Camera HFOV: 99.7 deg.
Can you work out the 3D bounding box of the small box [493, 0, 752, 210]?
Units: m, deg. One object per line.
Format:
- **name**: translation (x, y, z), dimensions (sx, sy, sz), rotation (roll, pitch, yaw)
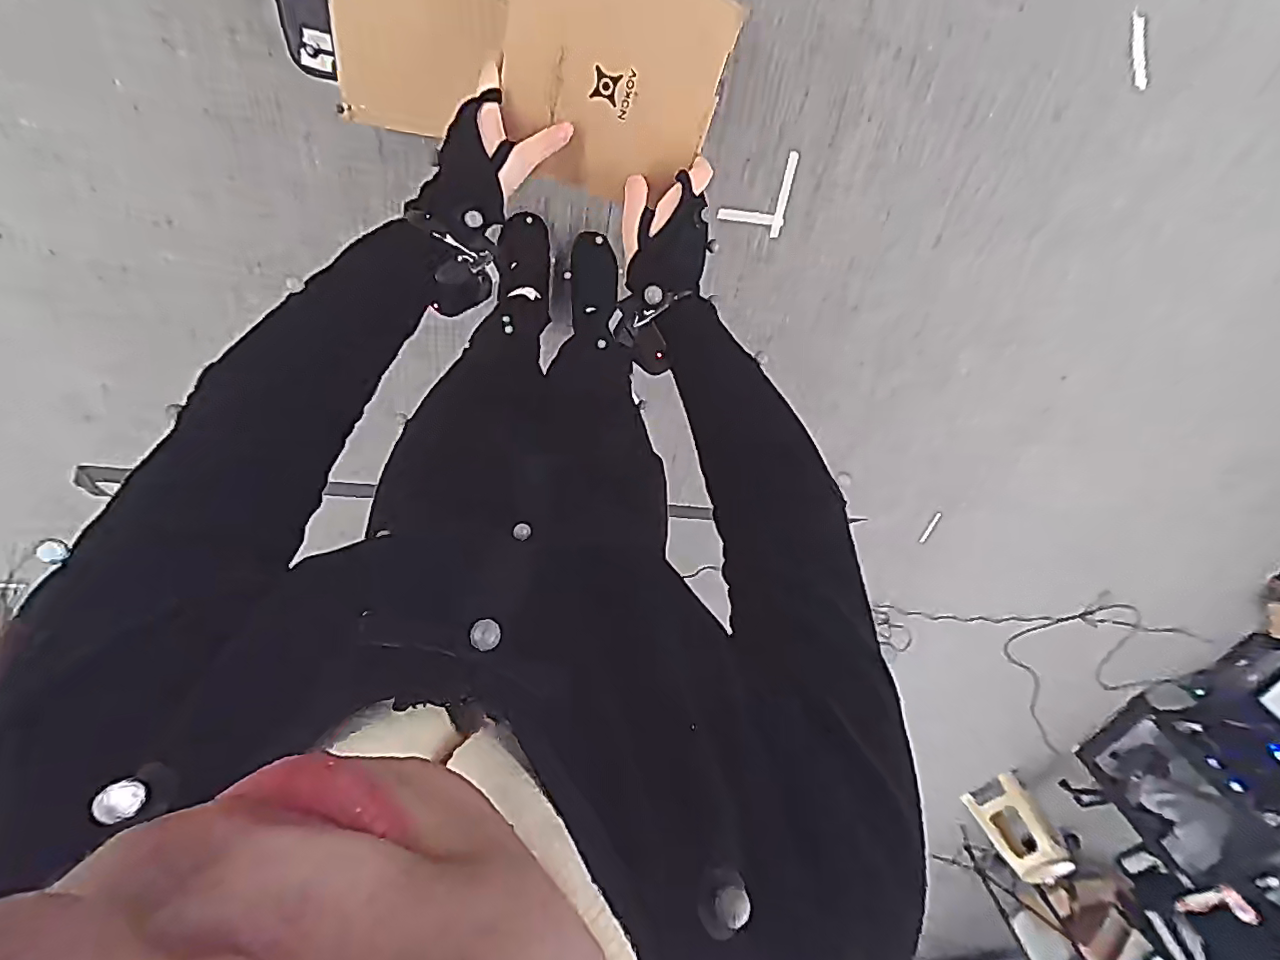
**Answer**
- **small box**: translation (-0.024, -0.383, 0.499), dimensions (0.179, 0.176, 0.168), rotation (13, 129, -13)
